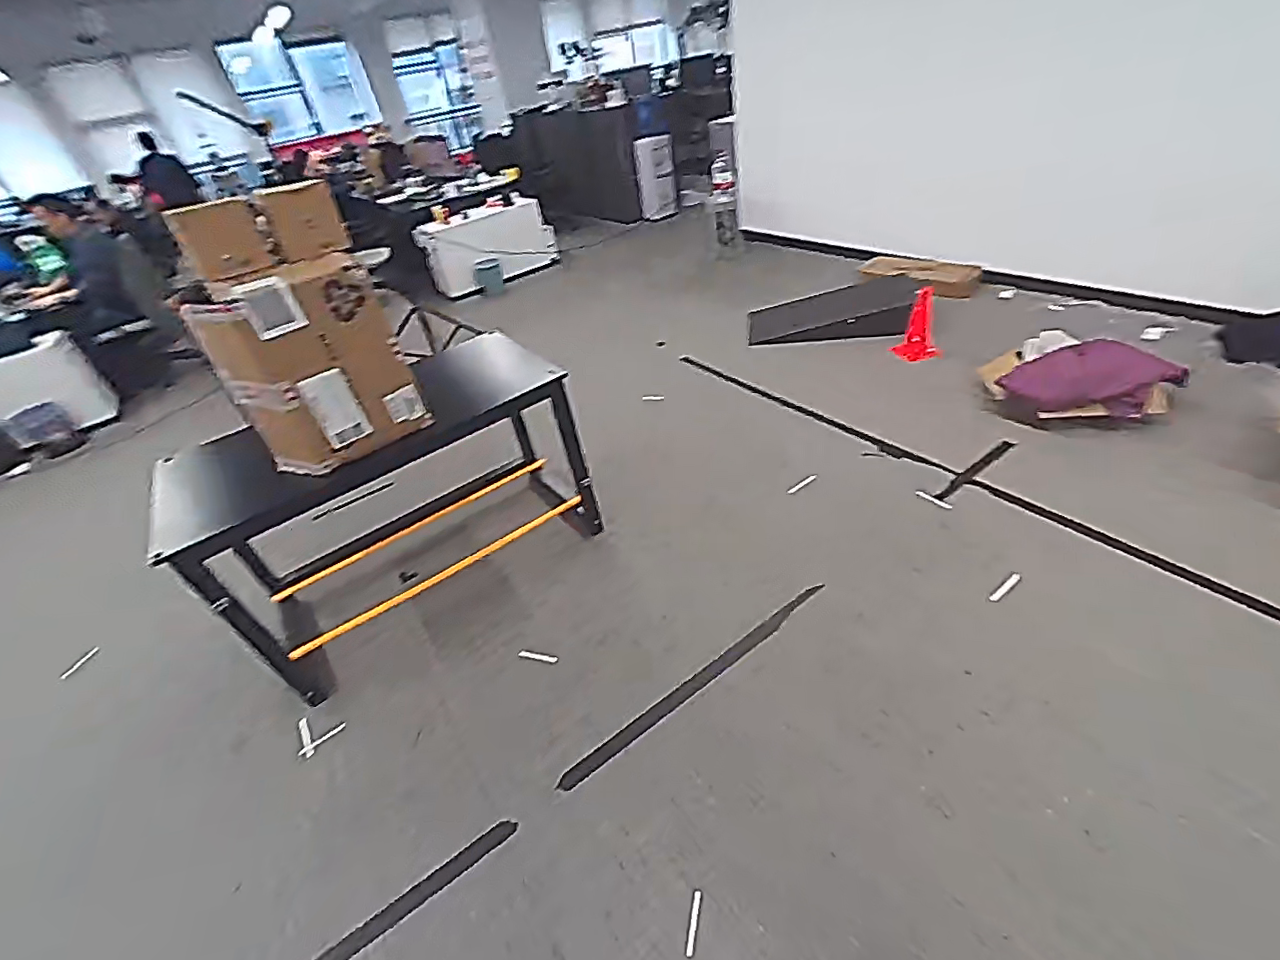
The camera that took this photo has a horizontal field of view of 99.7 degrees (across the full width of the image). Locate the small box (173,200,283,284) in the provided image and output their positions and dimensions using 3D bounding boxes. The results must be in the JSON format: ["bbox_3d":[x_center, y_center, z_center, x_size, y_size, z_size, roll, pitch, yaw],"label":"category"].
[{"bbox_3d":[-1.092,-0.634,1.440,0.168,0.176,0.179,-34,42,-28],"label":"small box"}]
